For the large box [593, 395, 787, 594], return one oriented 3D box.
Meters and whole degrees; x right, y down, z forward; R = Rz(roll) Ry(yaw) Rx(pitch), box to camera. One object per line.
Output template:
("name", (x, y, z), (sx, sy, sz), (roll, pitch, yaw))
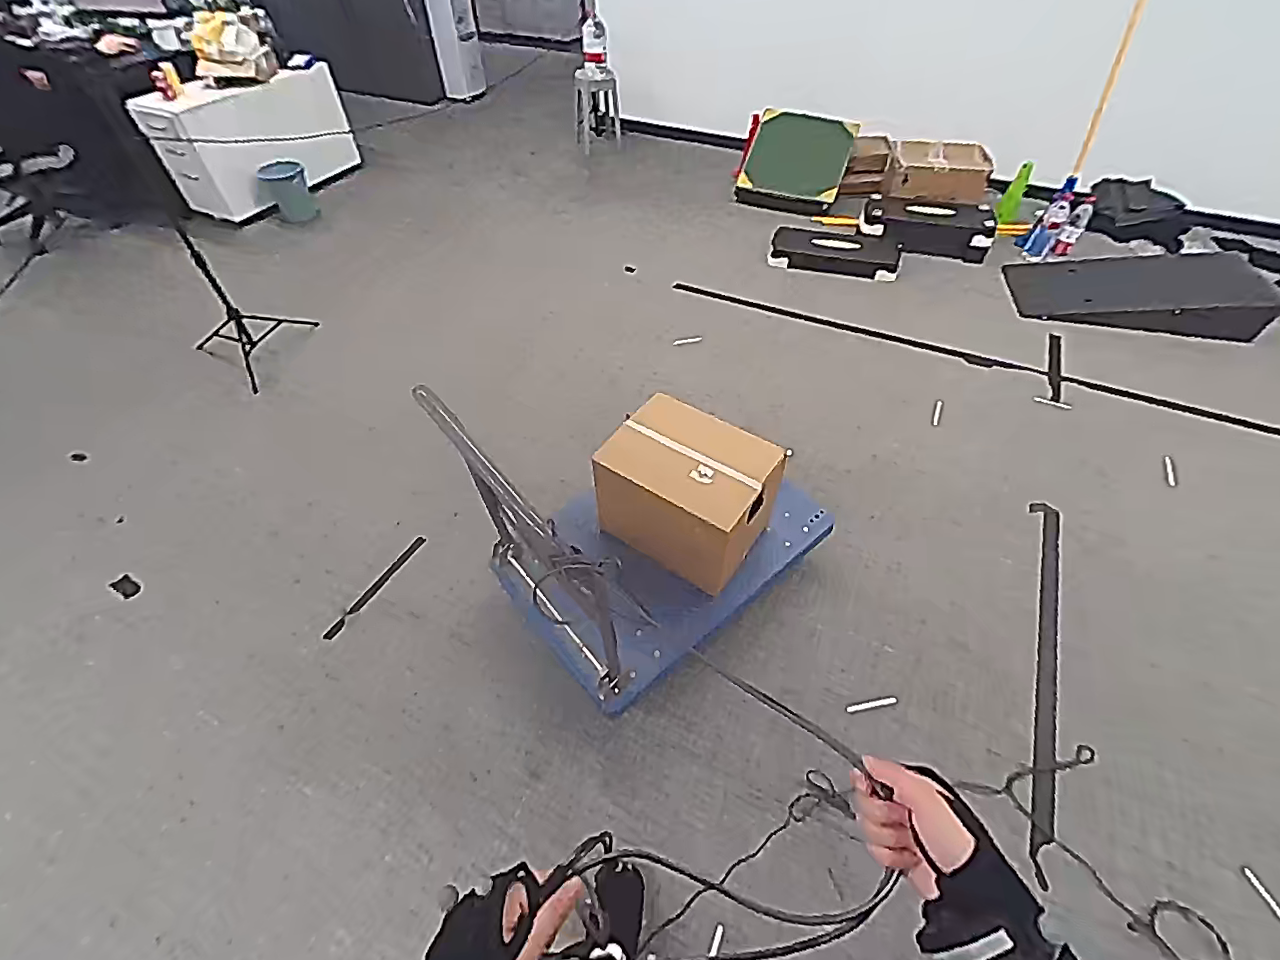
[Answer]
("large box", (0.124, 0.035, 1.475), (0.408, 0.320, 0.320), (29, 57, 21))
